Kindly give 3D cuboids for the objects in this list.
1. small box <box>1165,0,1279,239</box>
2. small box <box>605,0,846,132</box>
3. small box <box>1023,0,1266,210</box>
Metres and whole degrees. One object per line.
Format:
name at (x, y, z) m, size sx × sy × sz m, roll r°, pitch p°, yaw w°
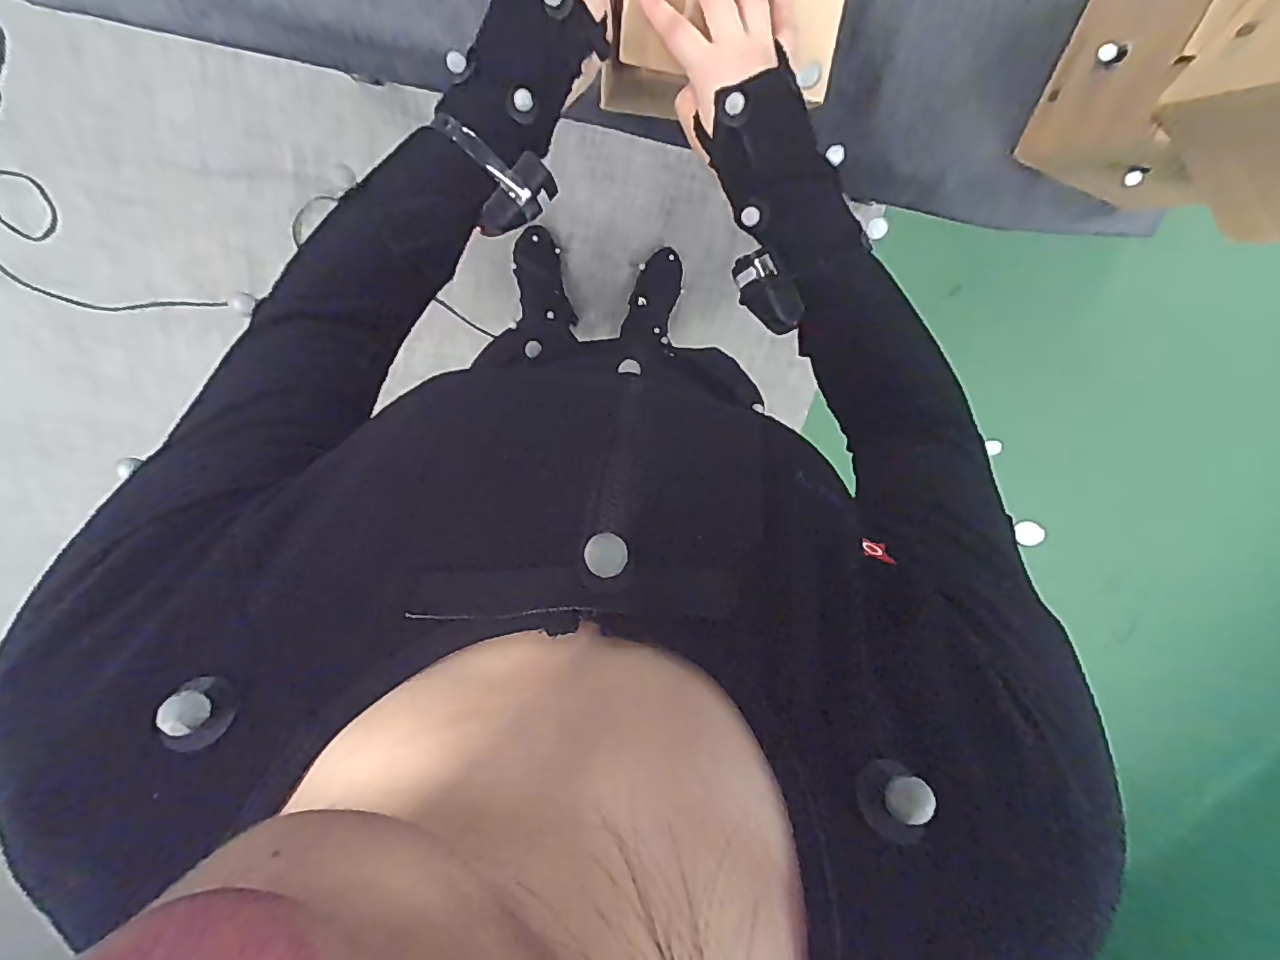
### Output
small box at (0.563, -0.297, 0.401) m, size 0.179 × 0.176 × 0.168 m, roll 34°, pitch 106°, yaw -21°
small box at (0.064, -0.413, 0.465) m, size 0.179 × 0.176 × 0.168 m, roll 2°, pitch 117°, yaw -9°
small box at (0.543, -0.382, 0.540) m, size 0.179 × 0.176 × 0.168 m, roll 13°, pitch 113°, yaw -13°
